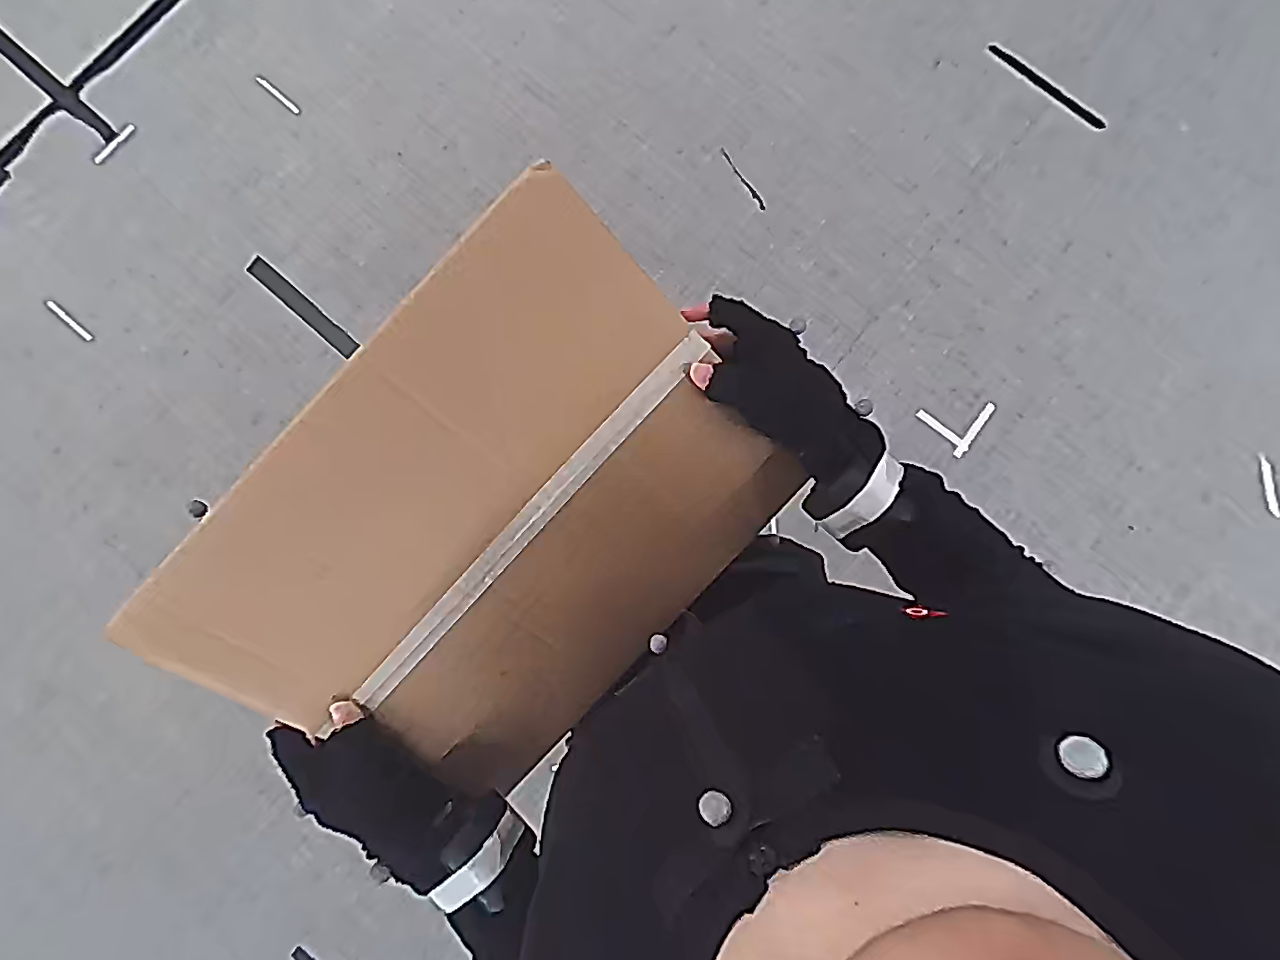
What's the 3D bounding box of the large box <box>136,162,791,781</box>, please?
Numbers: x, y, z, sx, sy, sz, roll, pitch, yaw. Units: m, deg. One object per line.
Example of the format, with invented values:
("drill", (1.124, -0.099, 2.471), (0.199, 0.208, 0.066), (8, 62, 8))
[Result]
("large box", (-0.144, -0.011, 0.546), (0.408, 0.320, 0.320), (-46, 116, 2))
